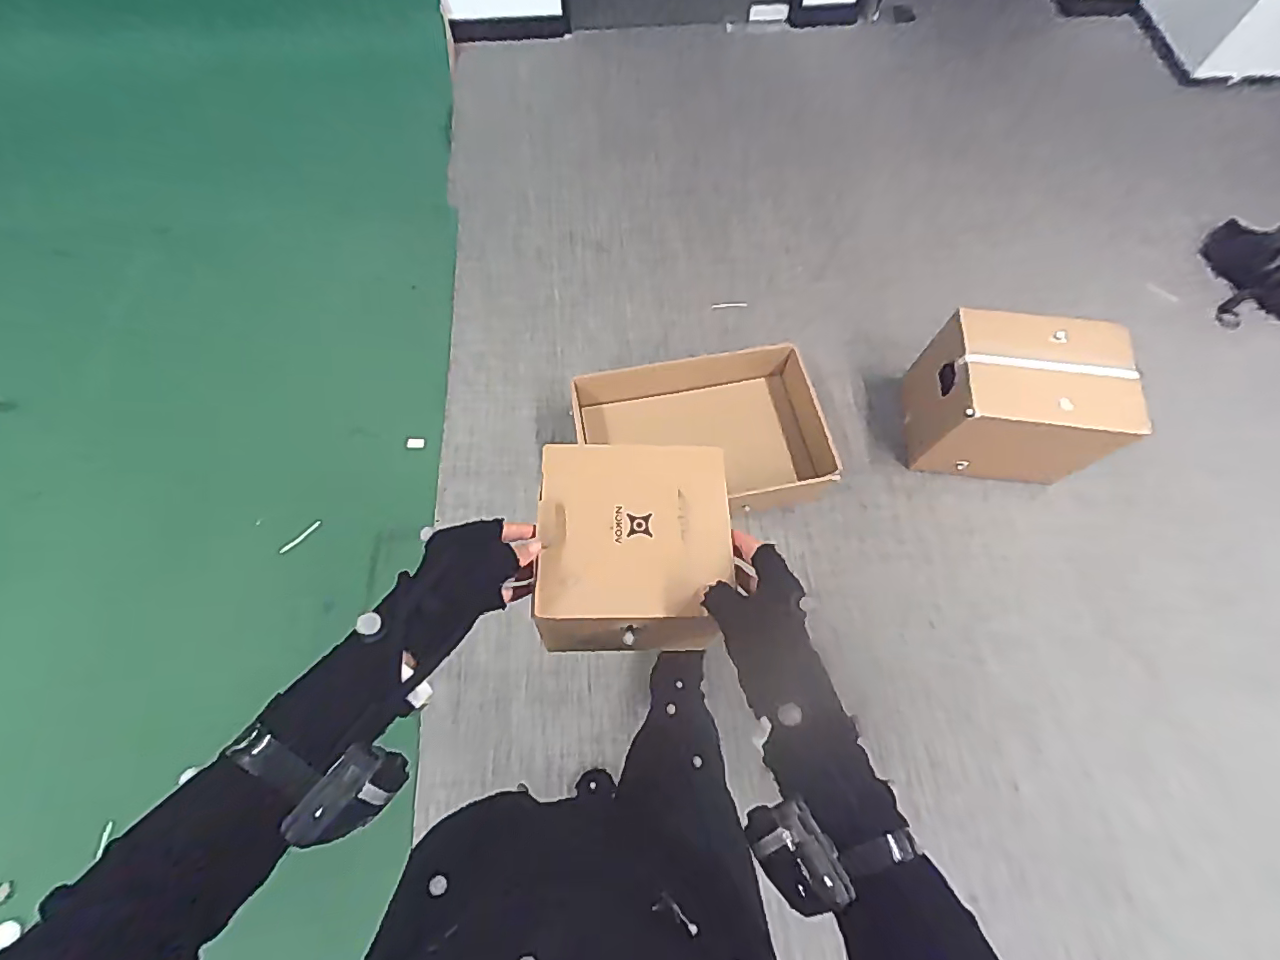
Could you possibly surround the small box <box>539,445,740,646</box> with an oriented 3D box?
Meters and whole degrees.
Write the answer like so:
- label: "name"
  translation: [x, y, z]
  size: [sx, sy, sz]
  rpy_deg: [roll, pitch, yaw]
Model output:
- label: "small box"
  translation: [-0.008, 0.076, 0.565]
  size: [0.179, 0.176, 0.168]
  rpy_deg: [0, 64, -6]
